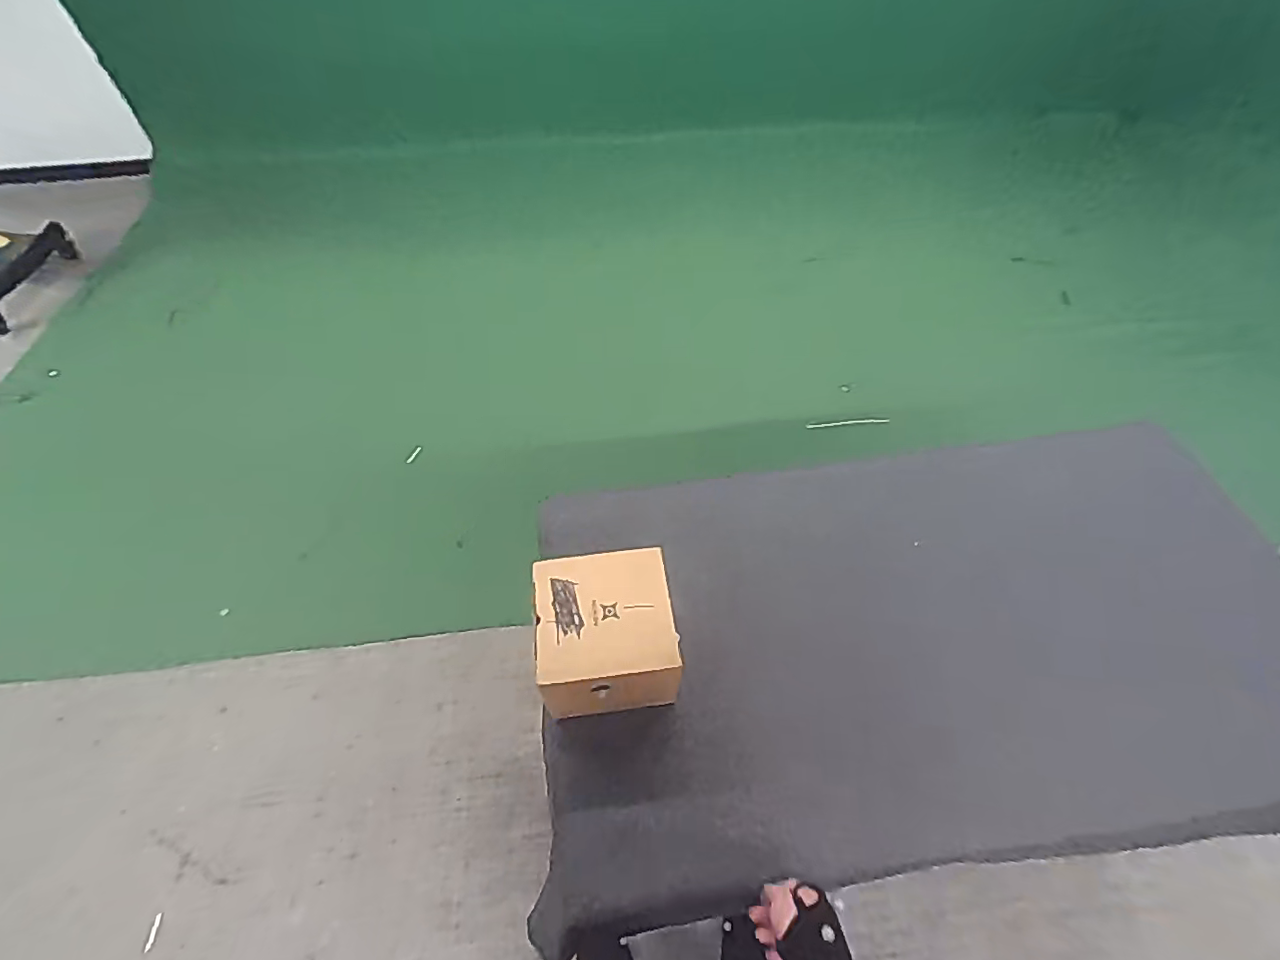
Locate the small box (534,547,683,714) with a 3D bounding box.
[{"bbox_3d":[-0.045,0.210,0.740,0.179,0.176,0.168,-5,55,-6],"label":"small box"}]
